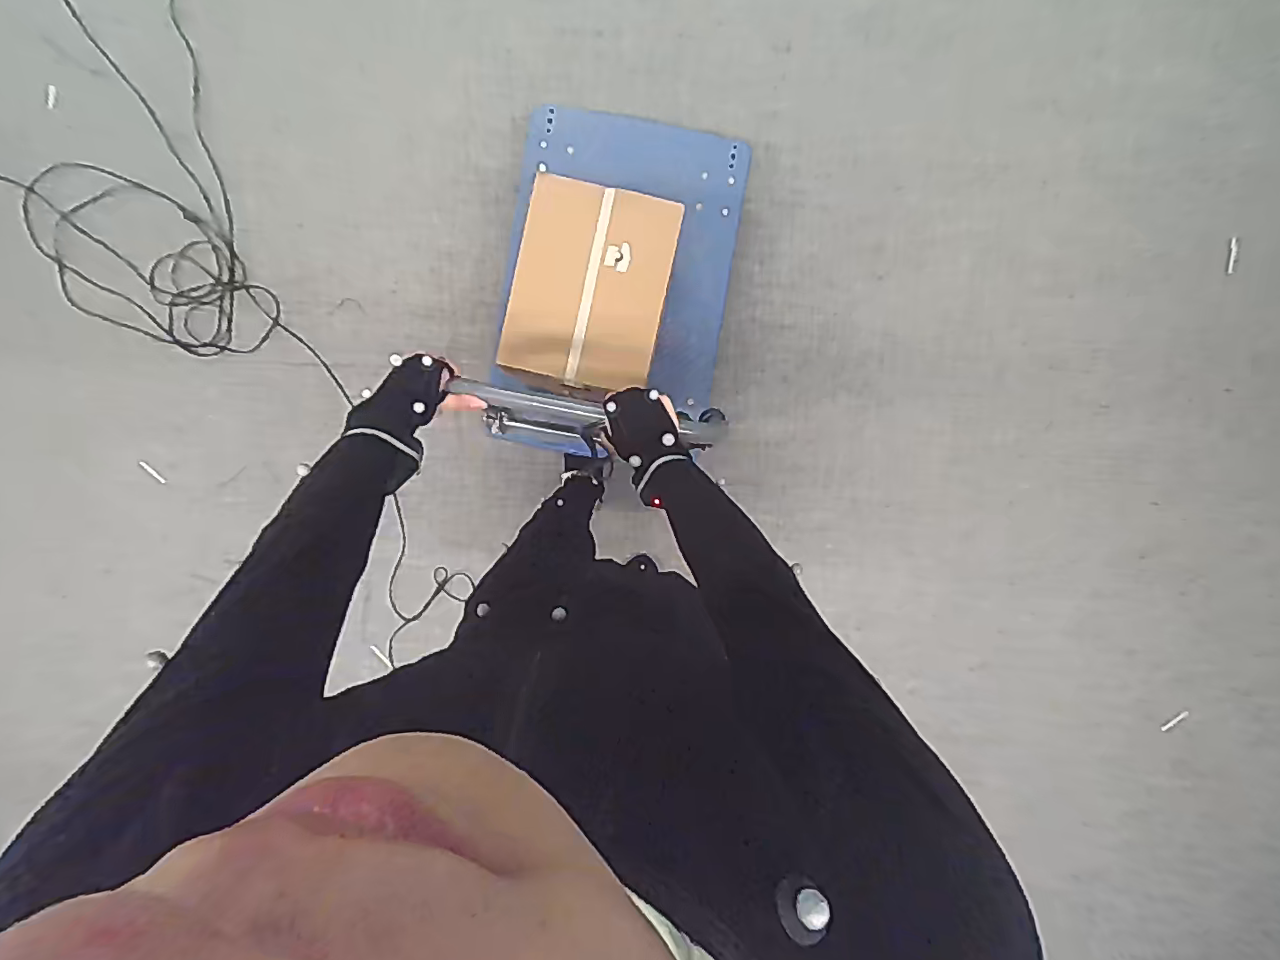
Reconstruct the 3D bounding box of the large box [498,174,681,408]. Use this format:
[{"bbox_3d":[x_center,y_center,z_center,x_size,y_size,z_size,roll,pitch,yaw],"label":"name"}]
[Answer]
[{"bbox_3d":[-0.106,-0.407,1.264,0.320,0.320,0.408,13,91,-2],"label":"large box"}]
